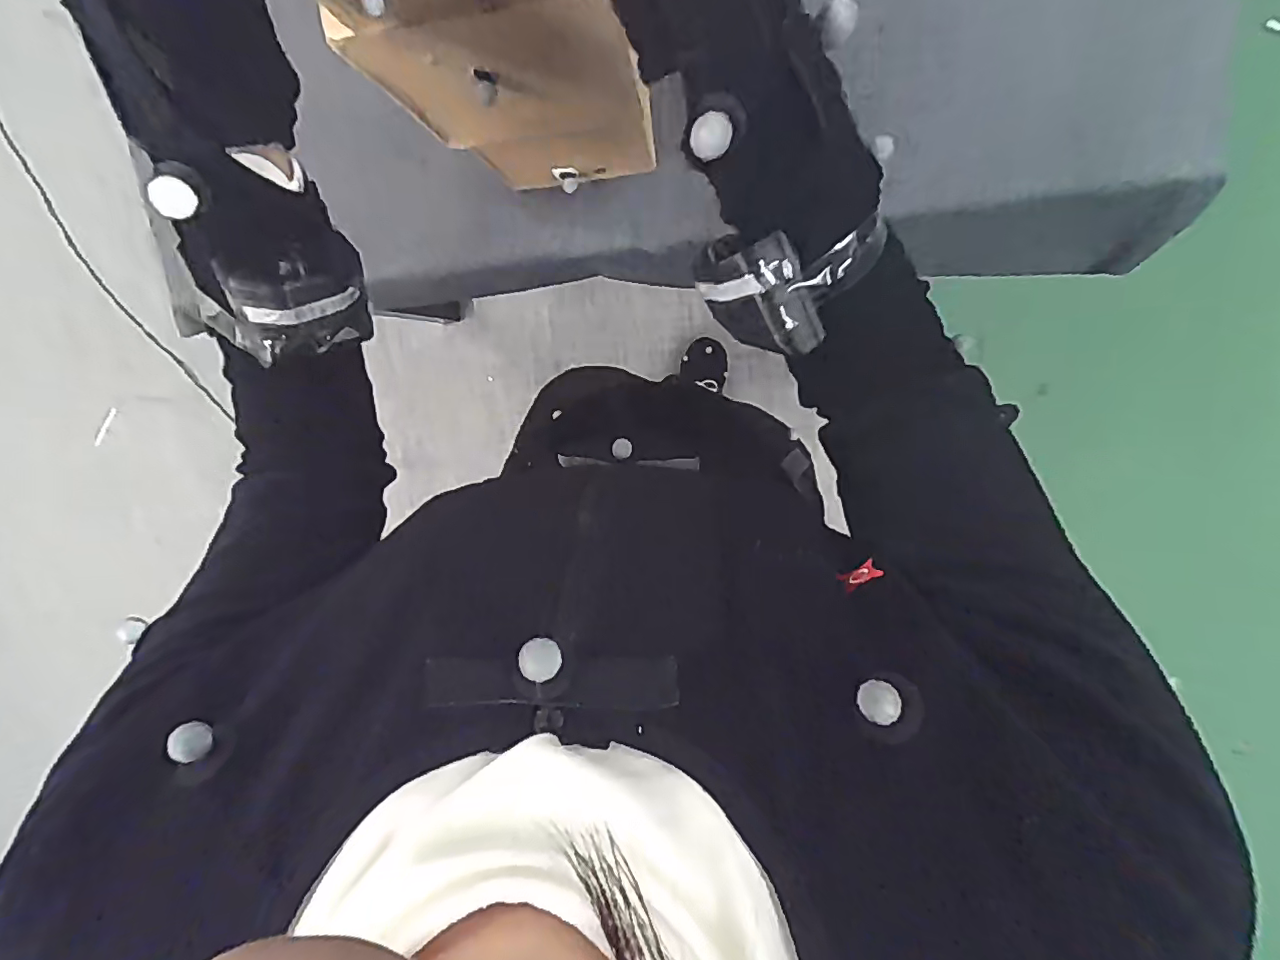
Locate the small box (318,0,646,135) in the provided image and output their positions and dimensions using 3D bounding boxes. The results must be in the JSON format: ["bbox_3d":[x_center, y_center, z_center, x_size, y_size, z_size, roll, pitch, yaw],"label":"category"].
[{"bbox_3d":[-0.098,-0.368,0.368,0.179,0.176,0.168,-6,99,7],"label":"small box"}]

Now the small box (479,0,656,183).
[{"bbox_3d":[-0.080,-0.416,0.521,0.168,0.176,0.179,-5,103,9],"label":"small box"}]
